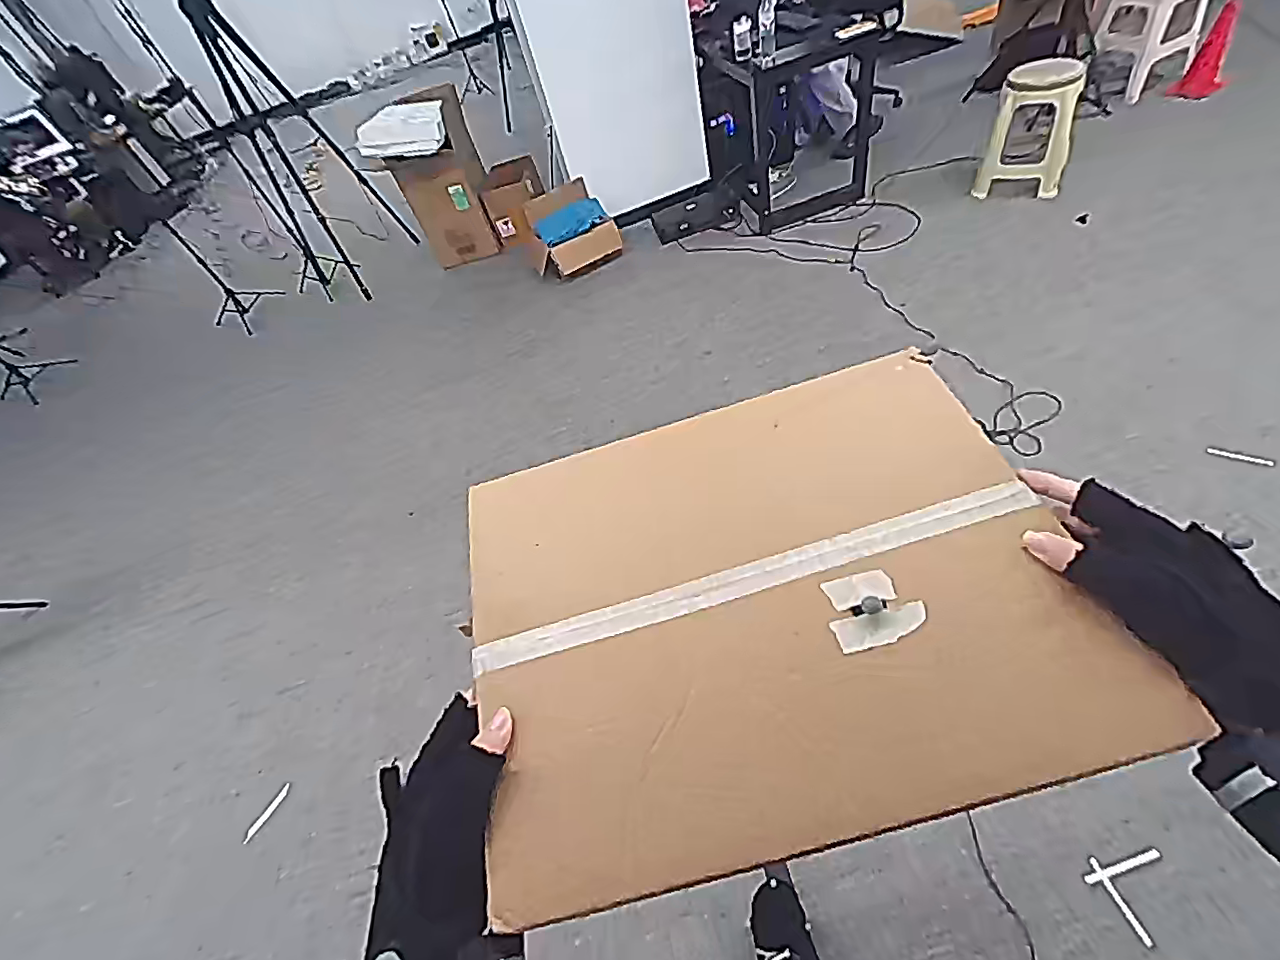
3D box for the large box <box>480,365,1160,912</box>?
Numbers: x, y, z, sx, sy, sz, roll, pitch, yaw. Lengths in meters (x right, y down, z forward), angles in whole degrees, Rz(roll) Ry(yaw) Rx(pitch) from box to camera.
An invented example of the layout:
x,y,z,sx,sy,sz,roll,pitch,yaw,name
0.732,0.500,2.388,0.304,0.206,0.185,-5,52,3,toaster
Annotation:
x,y,z,sx,sy,sz,roll,pitch,yaw,name
0.106,0.157,0.520,0.408,0.320,0.320,-18,55,2,large box
